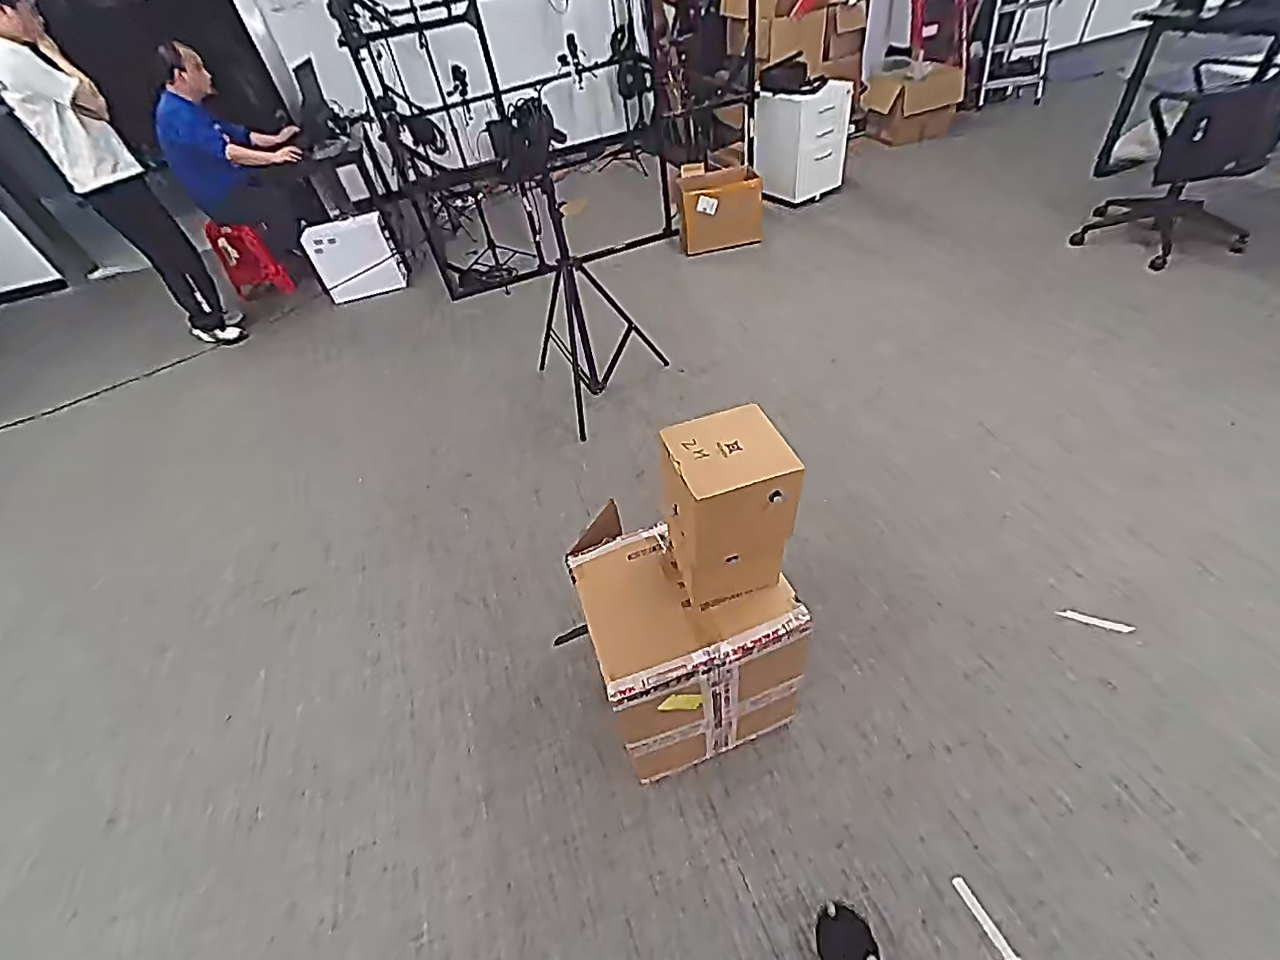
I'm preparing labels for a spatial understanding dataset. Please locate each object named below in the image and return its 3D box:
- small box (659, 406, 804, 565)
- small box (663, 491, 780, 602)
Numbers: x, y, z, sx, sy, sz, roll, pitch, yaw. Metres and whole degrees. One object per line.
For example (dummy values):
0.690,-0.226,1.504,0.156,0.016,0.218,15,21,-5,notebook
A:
0.140,0.010,0.879,0.179,0.176,0.168,-16,46,-8,small box
0.153,0.106,1.015,0.179,0.176,0.168,-14,46,-6,small box
